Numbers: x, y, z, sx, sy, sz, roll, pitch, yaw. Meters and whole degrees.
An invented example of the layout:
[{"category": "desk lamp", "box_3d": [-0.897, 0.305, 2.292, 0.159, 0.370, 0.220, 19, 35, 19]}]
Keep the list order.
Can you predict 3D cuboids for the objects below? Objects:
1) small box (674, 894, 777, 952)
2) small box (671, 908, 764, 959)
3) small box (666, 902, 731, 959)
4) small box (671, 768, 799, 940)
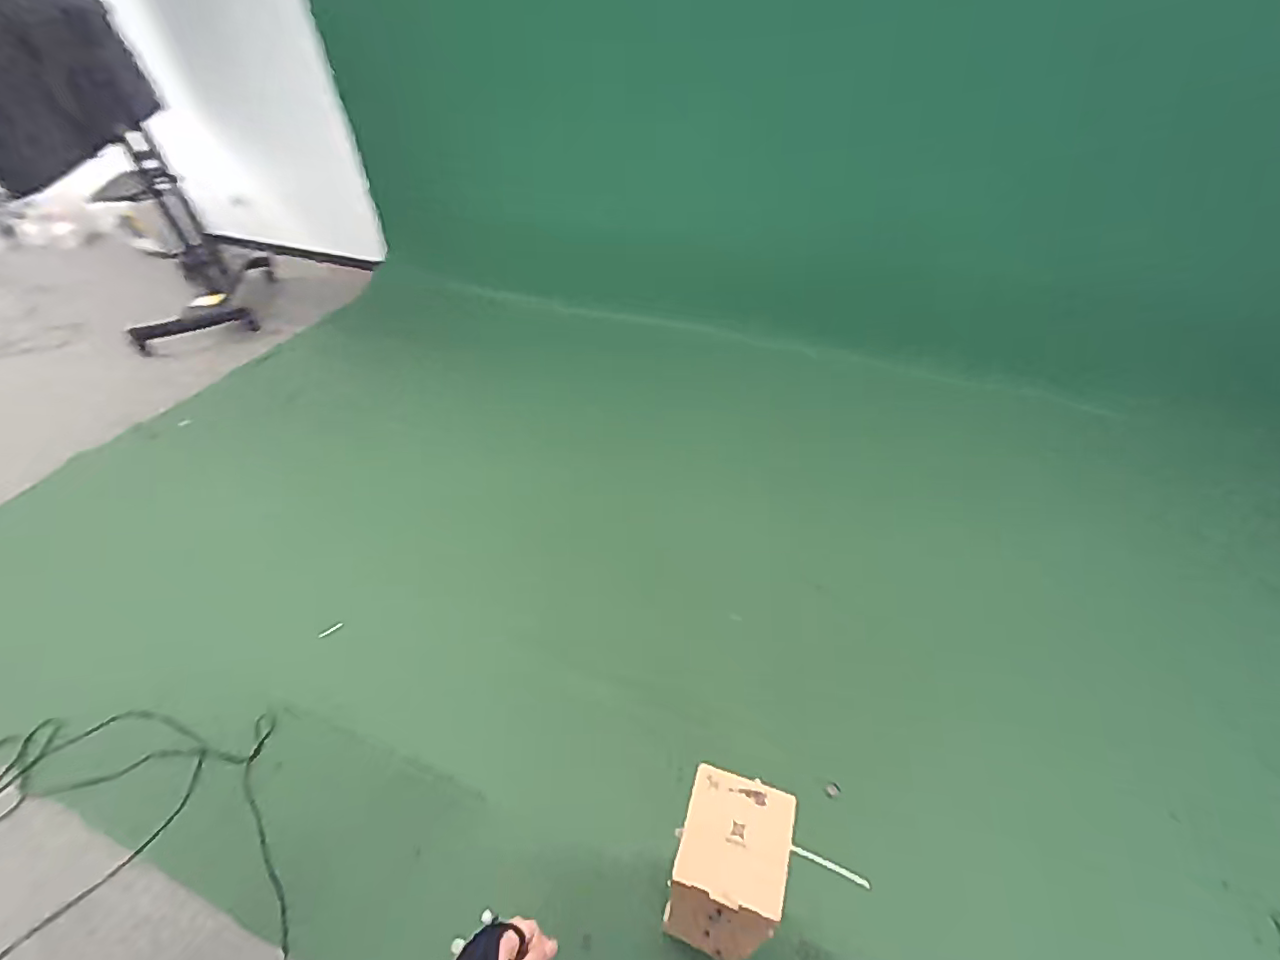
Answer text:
[{"category": "small box", "box_3d": [0.165, 0.742, 1.007, 0.179, 0.176, 0.168, 12, 46, 14]}, {"category": "small box", "box_3d": [0.171, 0.863, 1.118, 0.179, 0.176, 0.168, 12, 46, 16]}, {"category": "small box", "box_3d": [0.167, 0.980, 1.230, 0.179, 0.176, 0.168, 15, 46, 17]}, {"category": "small box", "box_3d": [0.156, 0.622, 0.896, 0.168, 0.176, 0.179, 13, 47, 15]}]
